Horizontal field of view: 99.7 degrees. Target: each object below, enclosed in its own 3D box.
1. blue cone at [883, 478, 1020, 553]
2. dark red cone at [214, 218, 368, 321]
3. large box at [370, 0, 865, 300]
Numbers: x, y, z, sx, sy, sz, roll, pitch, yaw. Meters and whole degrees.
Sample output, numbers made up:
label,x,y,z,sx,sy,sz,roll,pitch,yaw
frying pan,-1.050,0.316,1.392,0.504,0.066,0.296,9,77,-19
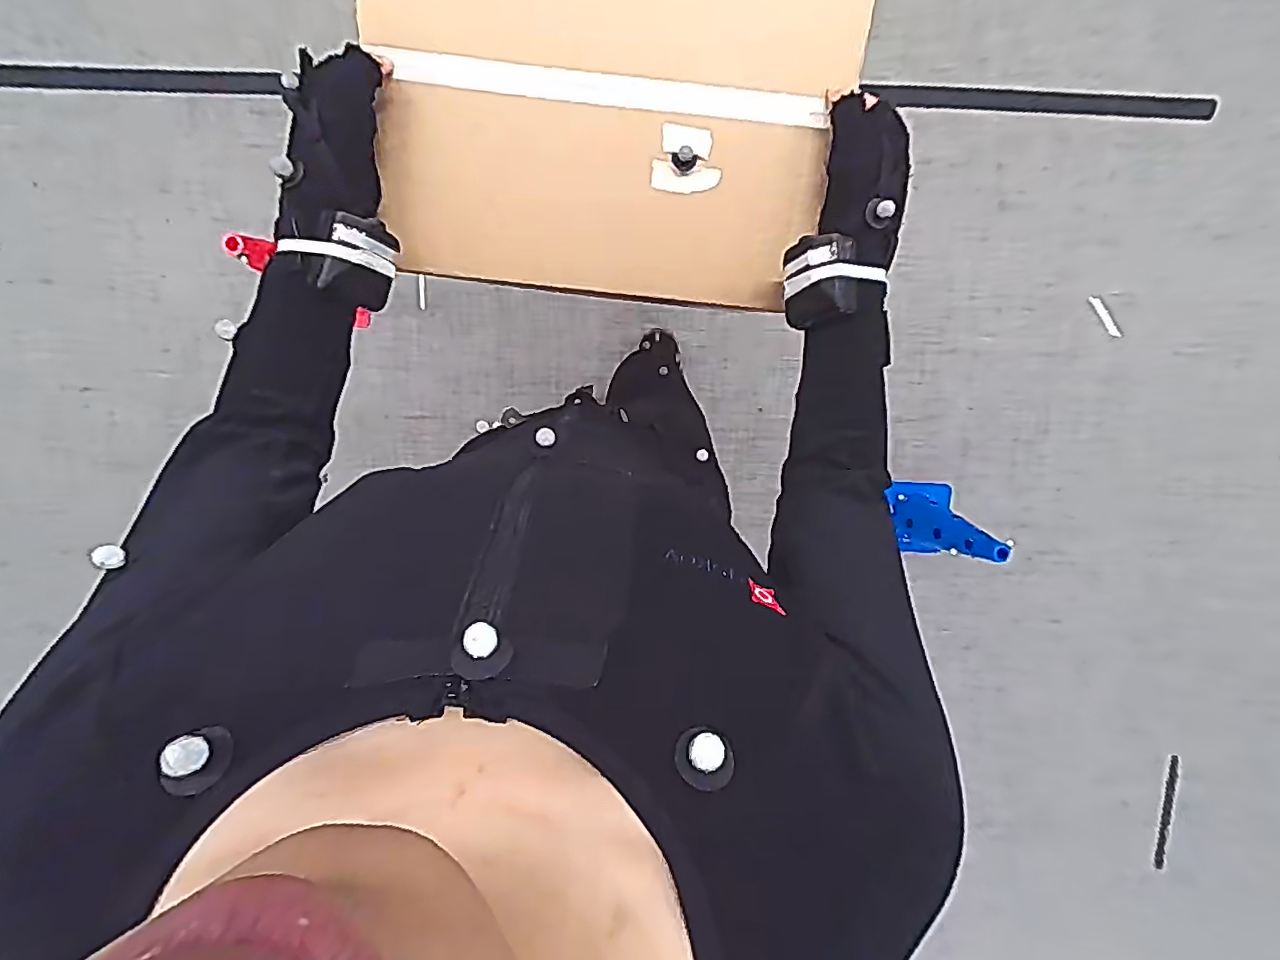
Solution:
label,x,y,z,sx,sy,sz,roll,pitch,yaw
blue cone,0.785,0.113,1.349,0.192,0.380,0.193,4,99,-3
dark red cone,-0.766,-0.479,1.171,0.201,0.394,0.202,7,99,-4
large box,-0.025,-0.377,0.590,0.408,0.320,0.320,5,108,-3
